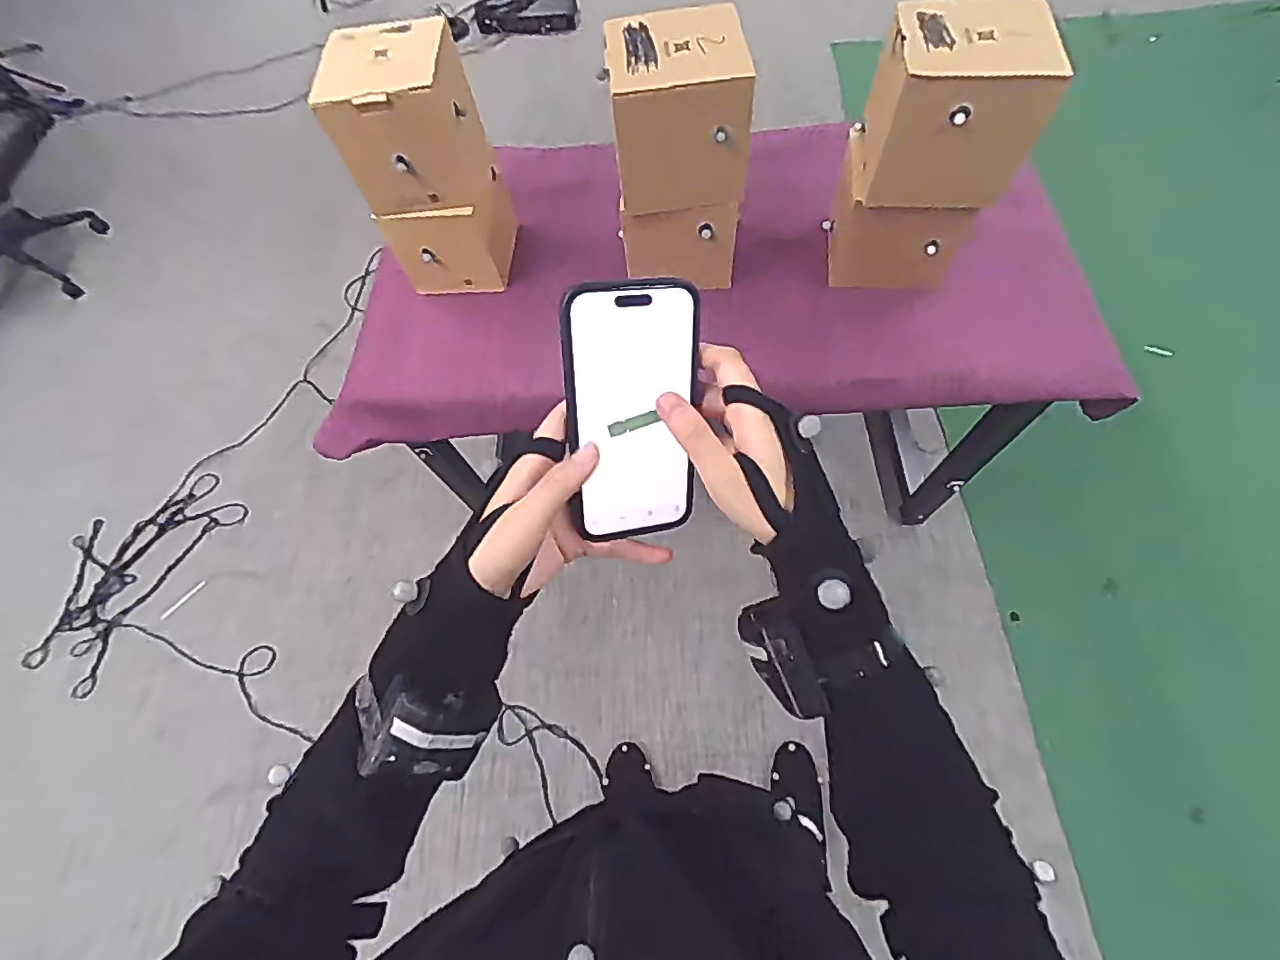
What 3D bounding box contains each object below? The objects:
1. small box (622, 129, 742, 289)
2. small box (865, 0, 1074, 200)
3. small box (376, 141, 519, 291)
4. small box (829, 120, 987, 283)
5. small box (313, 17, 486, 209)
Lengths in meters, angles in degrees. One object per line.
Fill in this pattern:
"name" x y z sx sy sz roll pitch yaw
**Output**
"small box" 0.069 -0.437 0.889 0.179 0.176 0.168 -1 64 6
"small box" 0.399 -0.488 0.697 0.179 0.176 0.168 4 65 8
"small box" -0.319 -0.446 0.937 0.168 0.176 0.179 -1 65 6
"small box" 0.407 -0.431 0.851 0.179 0.176 0.168 4 65 9
"small box" -0.336 -0.524 0.793 0.168 0.176 0.179 -5 65 3
